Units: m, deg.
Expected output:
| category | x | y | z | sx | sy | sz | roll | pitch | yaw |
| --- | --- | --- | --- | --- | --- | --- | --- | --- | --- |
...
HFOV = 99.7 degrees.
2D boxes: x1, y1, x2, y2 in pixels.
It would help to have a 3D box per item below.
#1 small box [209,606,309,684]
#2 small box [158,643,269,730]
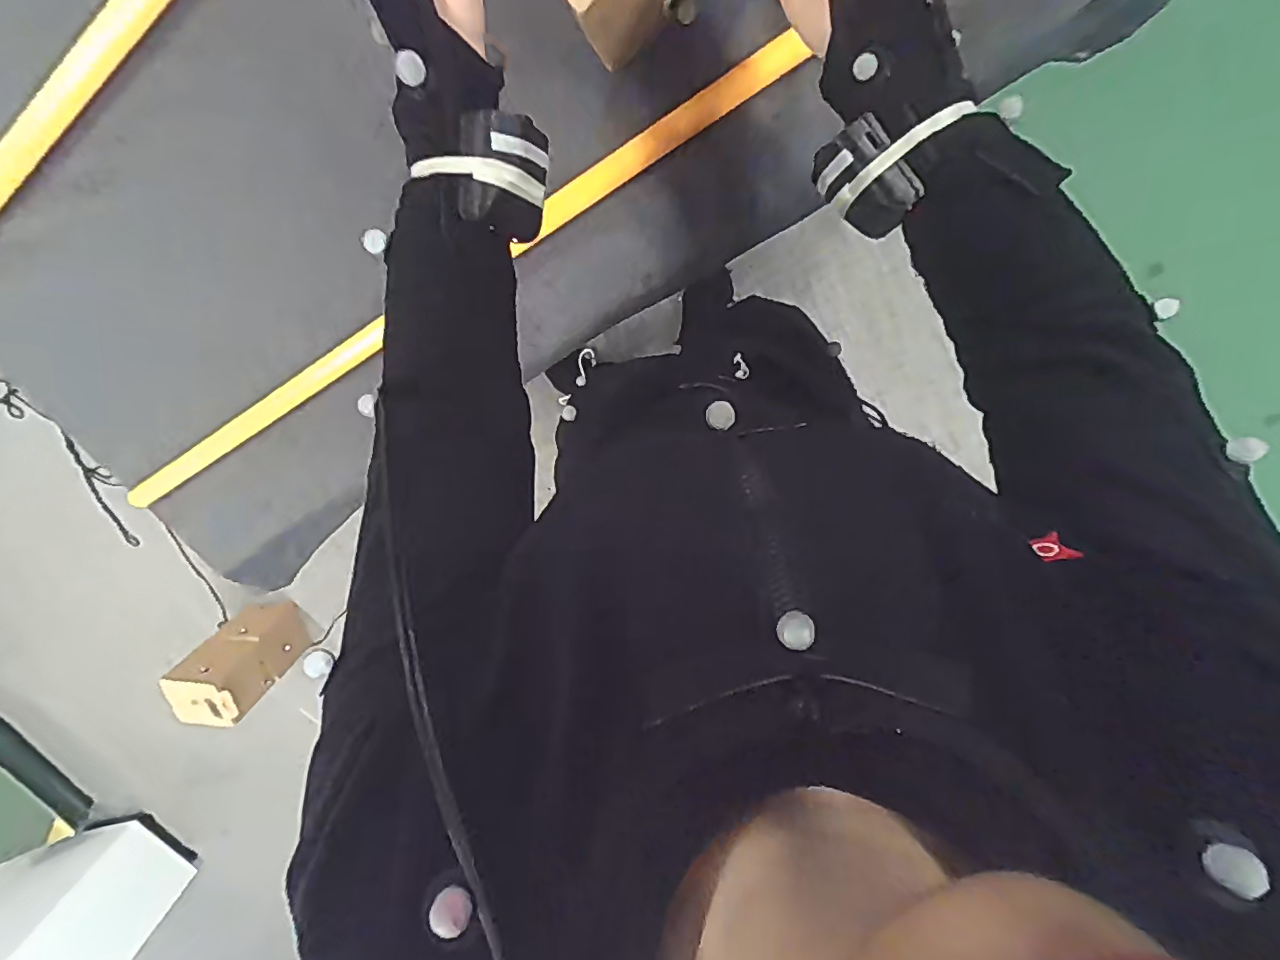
| category | x | y | z | sx | sy | sz | roll | pitch | yaw |
| --- | --- | --- | --- | --- | --- | --- | --- | --- | --- |
| small box | -1.198 | 0.522 | 1.718 | 0.168 | 0.176 | 0.179 | -3 | 115 | 7 |
| small box | -1.223 | 0.596 | 1.573 | 0.179 | 0.176 | 0.168 | 2 | 115 | 6 |
